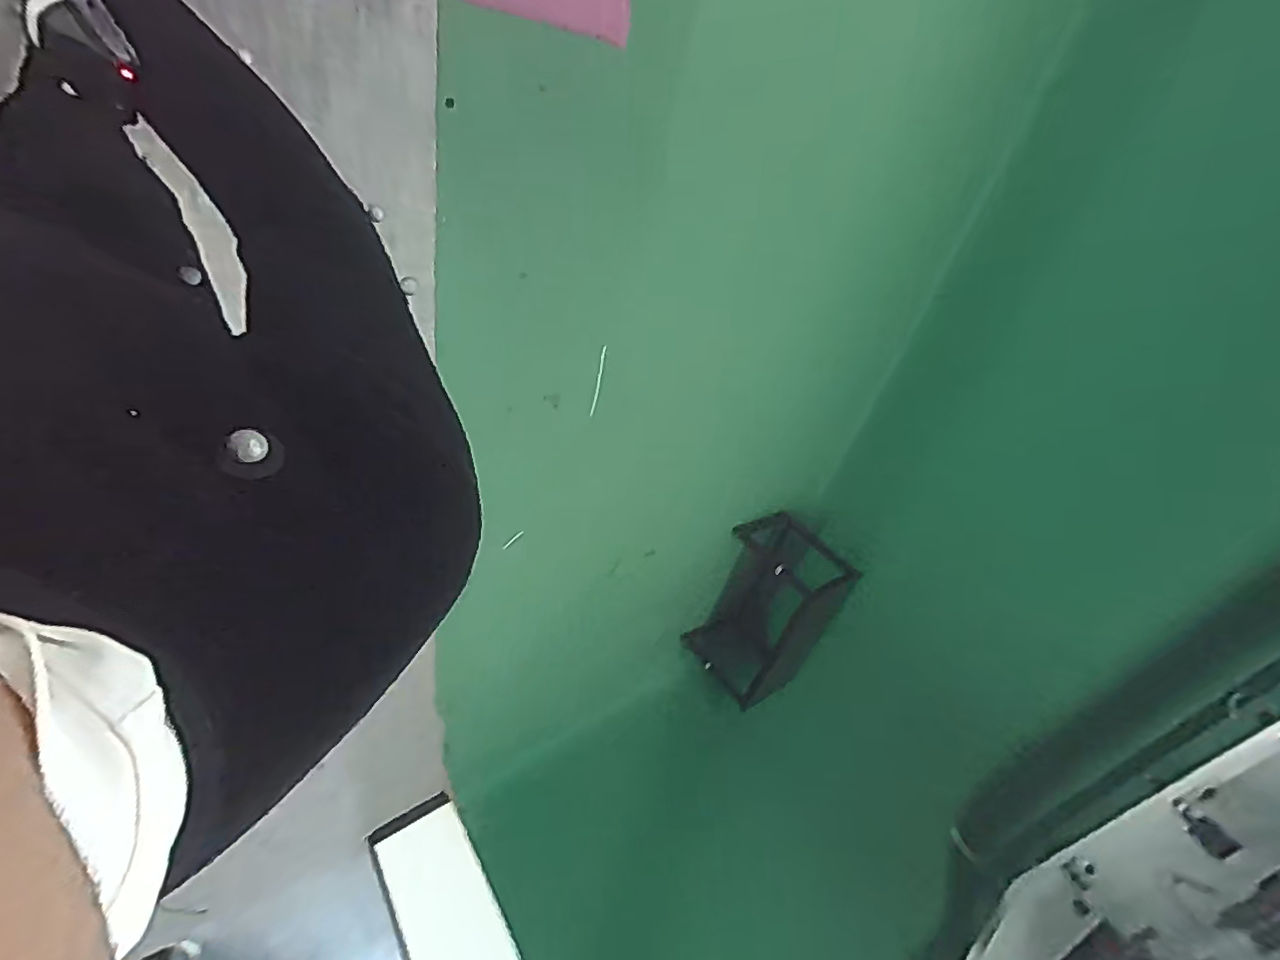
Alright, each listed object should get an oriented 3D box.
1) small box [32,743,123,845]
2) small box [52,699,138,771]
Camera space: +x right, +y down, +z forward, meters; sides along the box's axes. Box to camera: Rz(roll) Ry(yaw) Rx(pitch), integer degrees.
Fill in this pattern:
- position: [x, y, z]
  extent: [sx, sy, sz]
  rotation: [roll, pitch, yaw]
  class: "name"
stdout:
- position: [-1.610, 0.887, 1.552]
  extent: [0.168, 0.176, 0.179]
  rotation: [-6, 131, -42]
  class: "small box"
- position: [-1.690, 0.809, 1.678]
  extent: [0.168, 0.176, 0.179]
  rotation: [-11, 133, -40]
  class: "small box"
